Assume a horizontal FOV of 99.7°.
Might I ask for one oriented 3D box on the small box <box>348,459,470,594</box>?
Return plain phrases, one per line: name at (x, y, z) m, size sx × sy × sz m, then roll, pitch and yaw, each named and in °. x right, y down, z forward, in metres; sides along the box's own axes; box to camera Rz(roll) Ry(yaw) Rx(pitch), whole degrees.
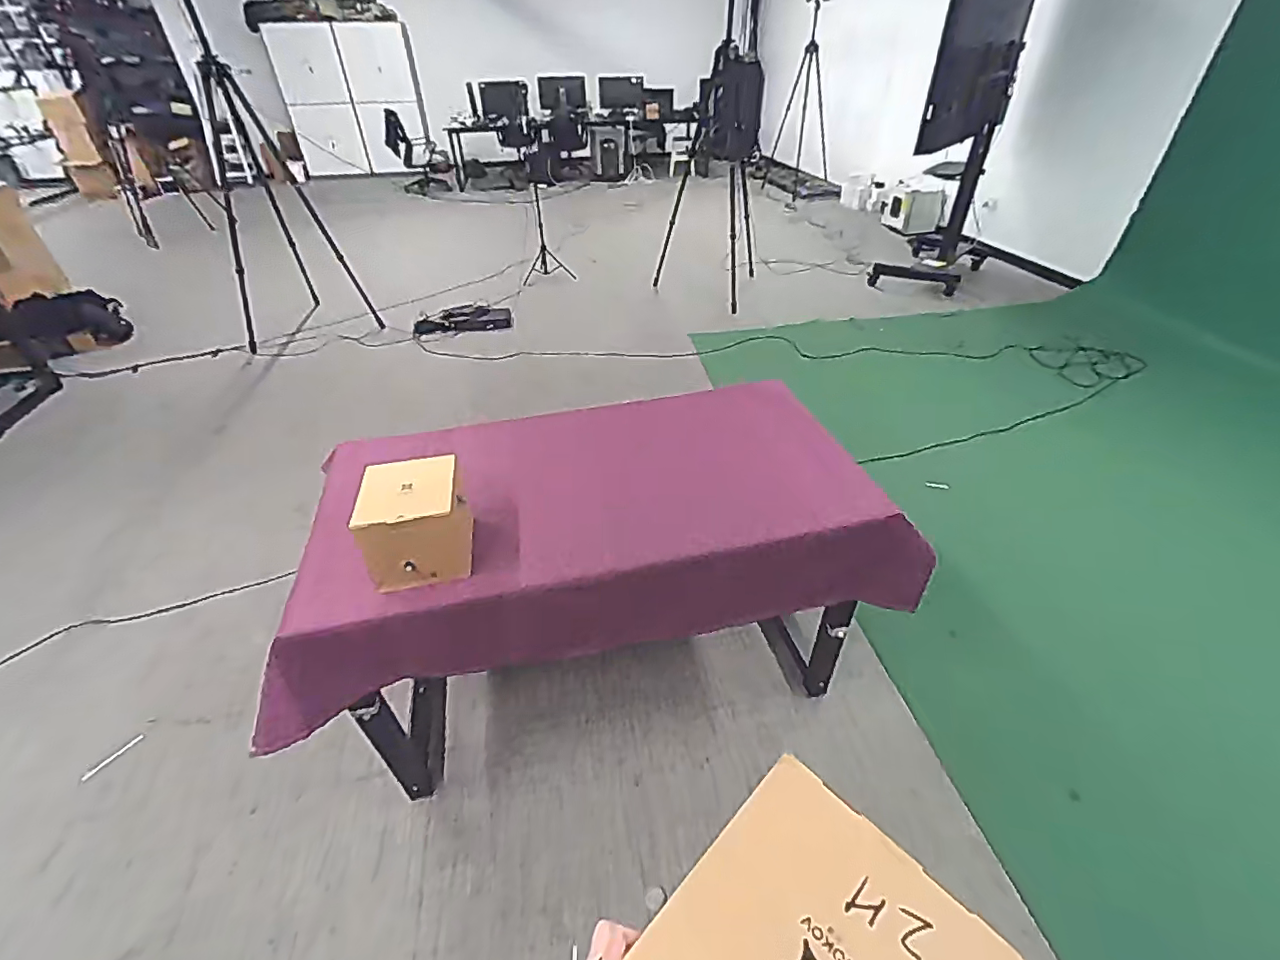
small box at (-0.422, 0.086, 1.019) m, size 0.168 × 0.176 × 0.179 m, roll -9°, pitch 40°, yaw -9°
